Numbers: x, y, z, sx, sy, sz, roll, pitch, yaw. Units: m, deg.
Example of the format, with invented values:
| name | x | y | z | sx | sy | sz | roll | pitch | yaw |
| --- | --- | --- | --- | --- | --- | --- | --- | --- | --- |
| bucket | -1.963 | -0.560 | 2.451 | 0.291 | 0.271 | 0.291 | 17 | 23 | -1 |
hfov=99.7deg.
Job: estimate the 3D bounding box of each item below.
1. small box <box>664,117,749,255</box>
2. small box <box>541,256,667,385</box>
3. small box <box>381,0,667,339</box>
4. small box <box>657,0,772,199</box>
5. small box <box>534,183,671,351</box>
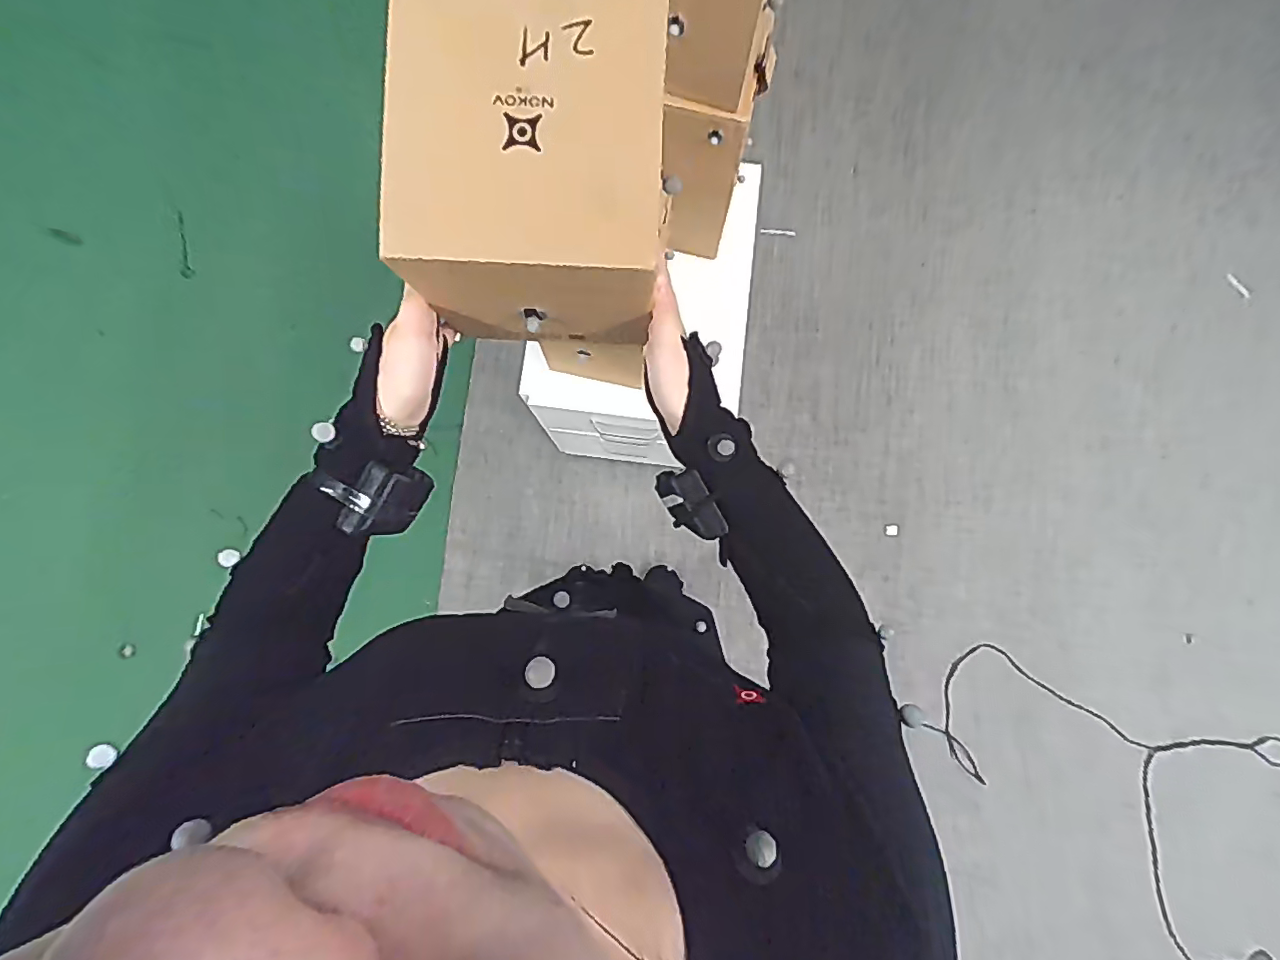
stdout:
| name | x | y | z | sx | sy | sz | roll | pitch | yaw |
| --- | --- | --- | --- | --- | --- | --- | --- | --- | --- |
| small box | 0.072 | -0.520 | 0.938 | 0.179 | 0.176 | 0.168 | 14 | 83 | 2 |
| small box | -0.063 | -0.273 | 0.901 | 0.179 | 0.176 | 0.168 | 13 | 81 | 0 |
| small box | -0.071 | -0.214 | 0.404 | 0.168 | 0.176 | 0.179 | 3 | 88 | -3 |
| small box | 0.069 | -0.539 | 0.777 | 0.179 | 0.176 | 0.168 | 13 | 82 | 0 |
| small box | -0.063 | -0.294 | 0.740 | 0.179 | 0.176 | 0.168 | 12 | 80 | 1 |
